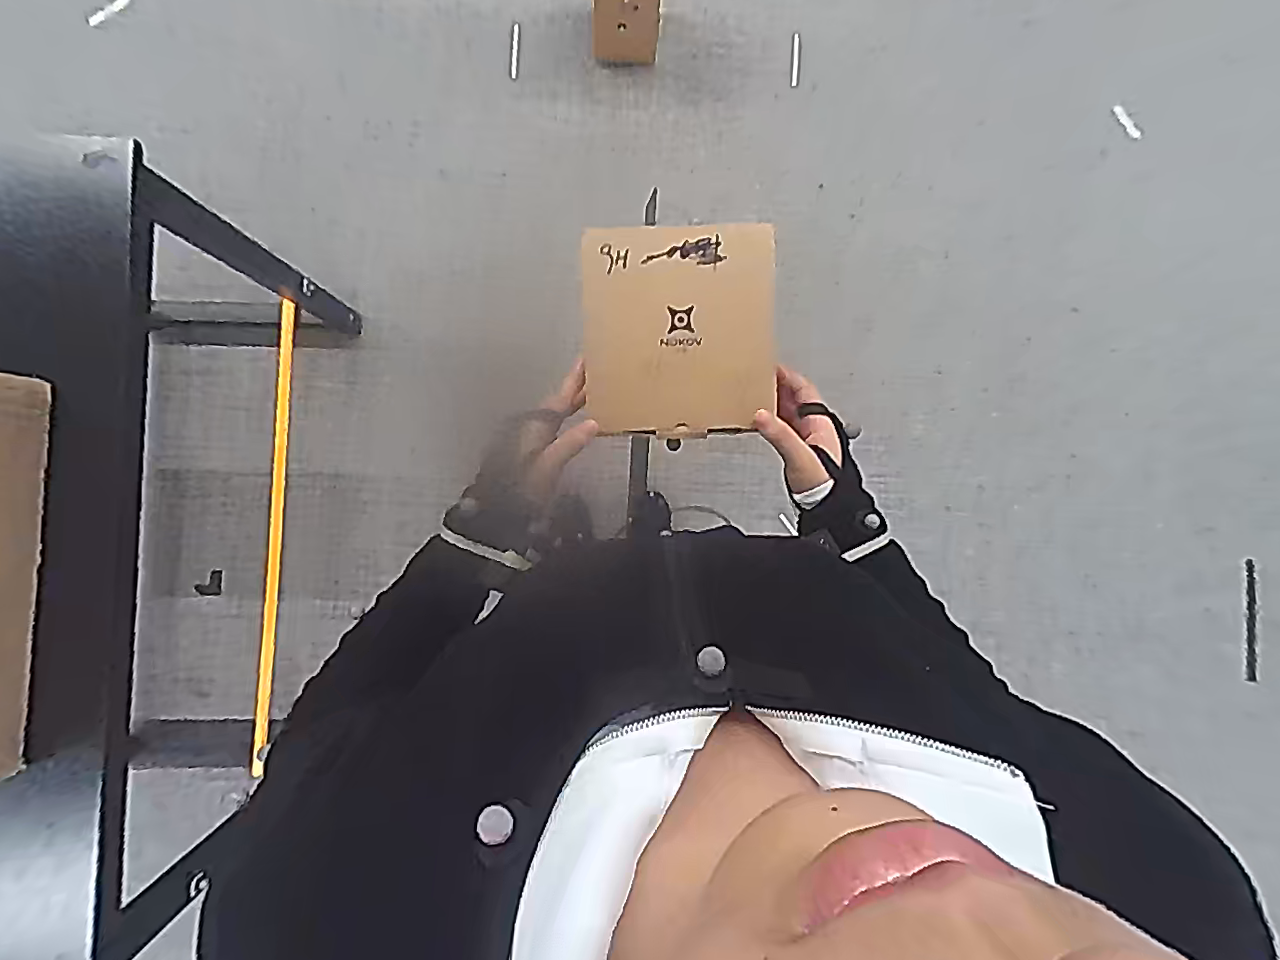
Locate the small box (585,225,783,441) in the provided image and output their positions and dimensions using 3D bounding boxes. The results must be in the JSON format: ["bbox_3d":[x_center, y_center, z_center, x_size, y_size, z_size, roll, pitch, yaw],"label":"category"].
[{"bbox_3d":[0.038,-0.130,0.532,0.168,0.176,0.179,-2,95,-1],"label":"small box"}]

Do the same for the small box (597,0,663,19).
[{"bbox_3d":[-0.018,-1.258,1.284,0.168,0.176,0.179,3,89,-3],"label":"small box"}]

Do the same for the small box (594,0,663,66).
[{"bbox_3d":[-0.033,-1.254,1.448,0.179,0.176,0.168,-1,89,-4],"label":"small box"}]
